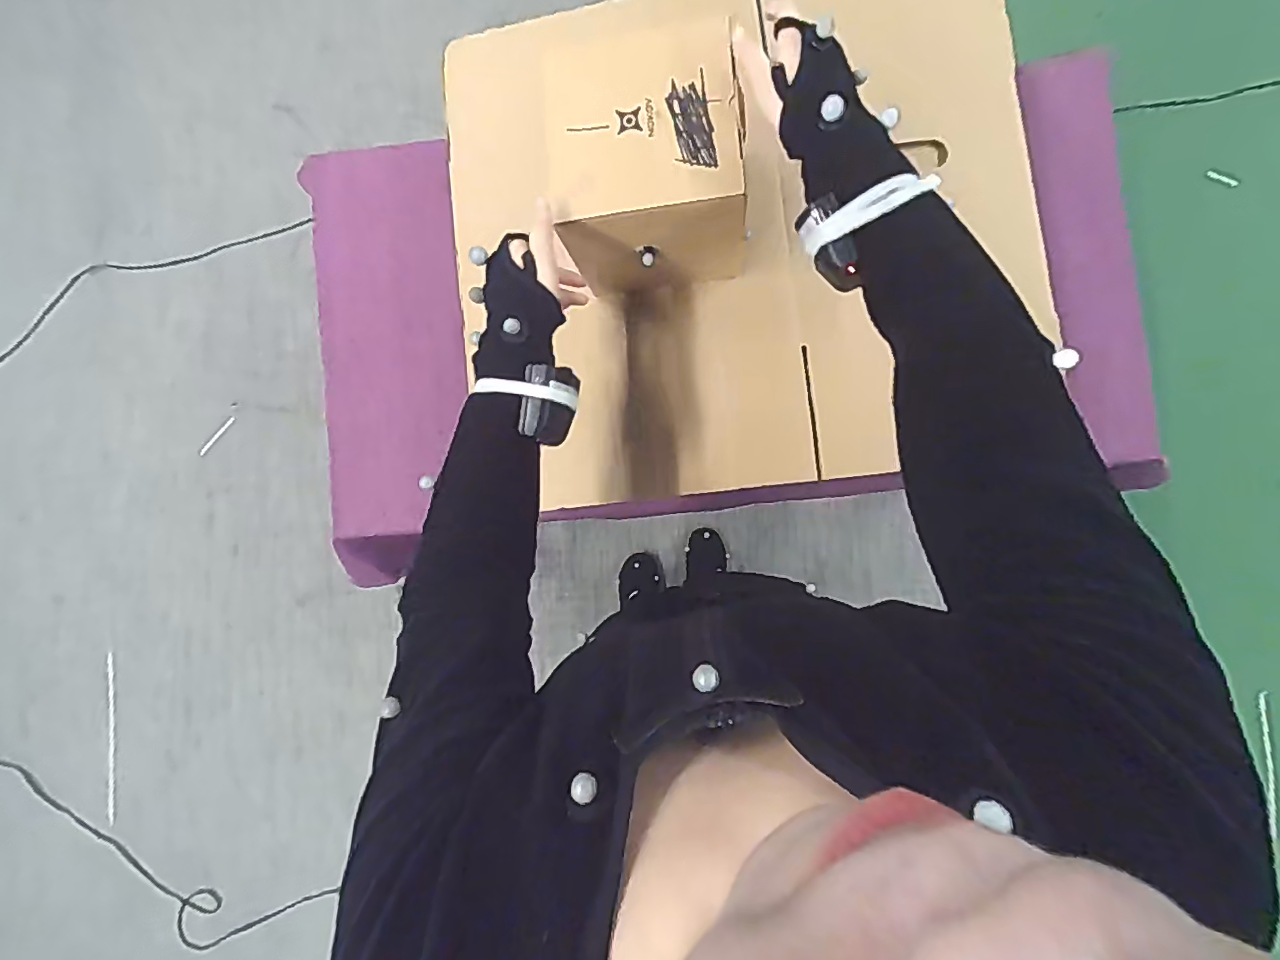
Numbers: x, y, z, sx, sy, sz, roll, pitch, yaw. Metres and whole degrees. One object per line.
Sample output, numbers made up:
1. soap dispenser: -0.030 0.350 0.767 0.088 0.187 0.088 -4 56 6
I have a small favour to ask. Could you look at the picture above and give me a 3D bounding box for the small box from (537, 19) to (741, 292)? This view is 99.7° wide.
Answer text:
1. small box: 0.008 -0.313 0.561 0.179 0.176 0.168 -5 87 10
